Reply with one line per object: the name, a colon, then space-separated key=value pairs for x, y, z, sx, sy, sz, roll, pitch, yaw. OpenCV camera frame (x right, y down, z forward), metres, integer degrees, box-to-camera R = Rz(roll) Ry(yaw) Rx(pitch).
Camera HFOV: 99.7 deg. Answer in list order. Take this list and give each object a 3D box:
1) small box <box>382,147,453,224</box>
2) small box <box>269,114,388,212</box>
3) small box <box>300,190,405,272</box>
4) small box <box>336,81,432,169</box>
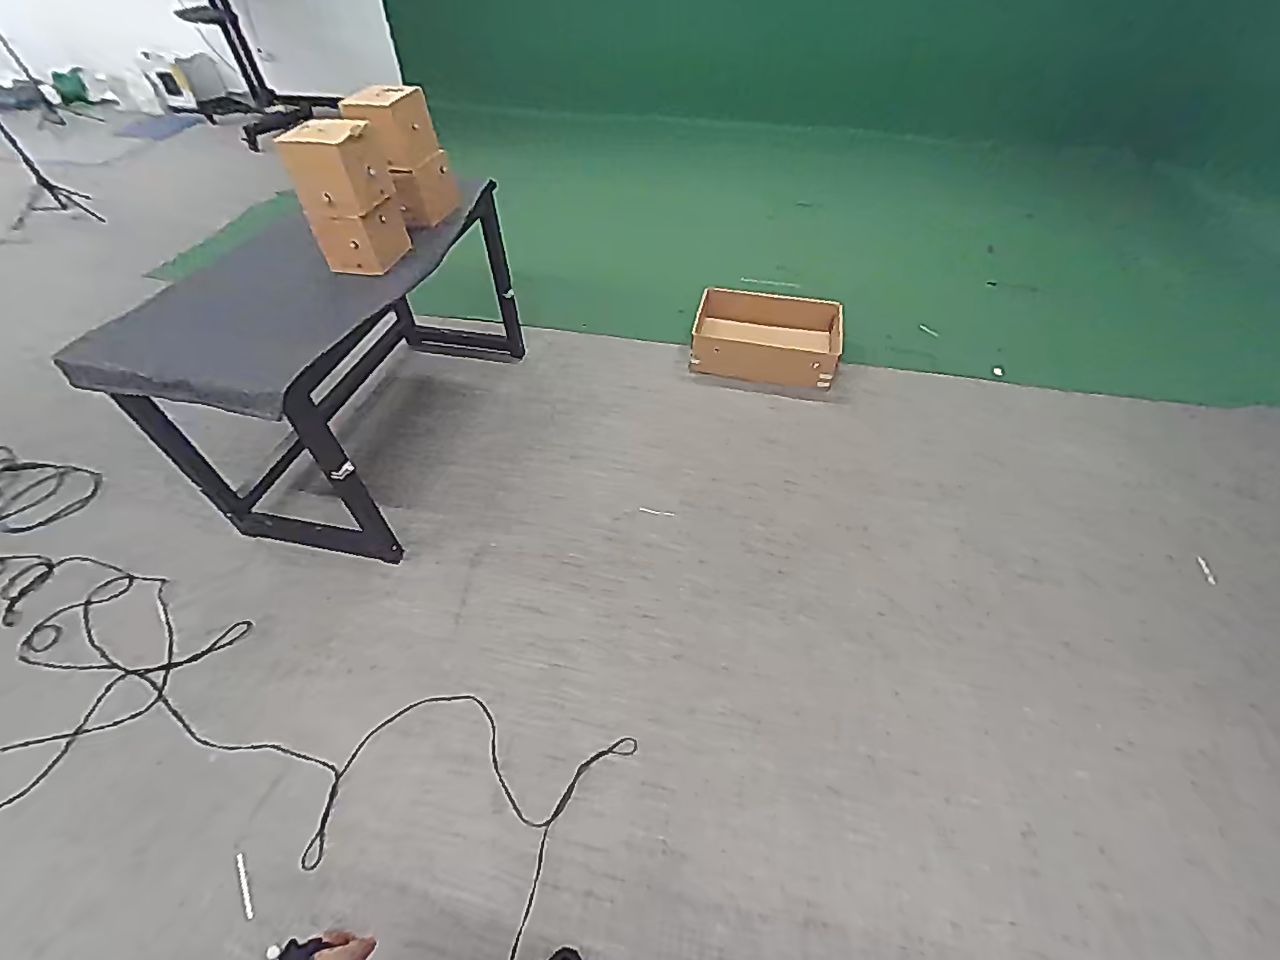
small box: x=-0.712 y=-0.932 z=1.701 sx=0.168 sy=0.176 sz=0.179 roll=12 pitch=51 yaw=13
small box: x=-0.778 y=-0.803 z=1.376 sx=0.179 sy=0.176 sz=0.168 roll=9 pitch=50 yaw=8
small box: x=-0.786 y=-0.698 z=1.503 sx=0.168 sy=0.176 sz=0.179 roll=9 pitch=49 yaw=8
small box: x=-0.731 y=-1.032 z=1.571 sx=0.168 sy=0.176 sz=0.179 roll=11 pitch=52 yaw=11
